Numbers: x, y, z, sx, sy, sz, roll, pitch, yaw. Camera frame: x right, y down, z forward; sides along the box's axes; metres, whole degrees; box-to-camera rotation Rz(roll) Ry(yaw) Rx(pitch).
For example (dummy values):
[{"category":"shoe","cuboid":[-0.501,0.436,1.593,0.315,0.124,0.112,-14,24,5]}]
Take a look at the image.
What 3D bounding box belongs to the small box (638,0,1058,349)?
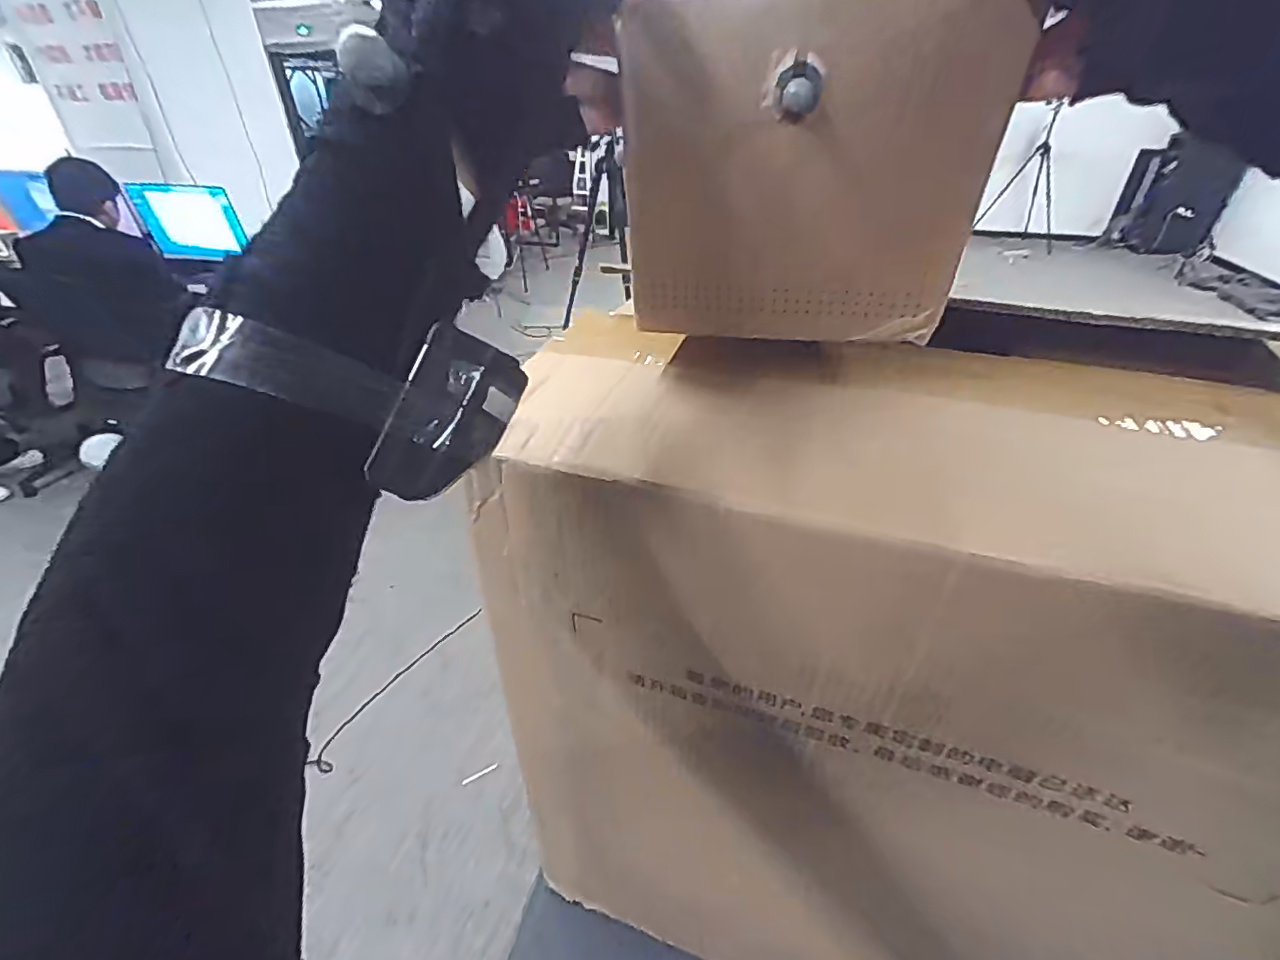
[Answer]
[{"category":"small box","cuboid":[0.103,-0.196,0.334,0.179,0.176,0.168,7,46,10]}]
